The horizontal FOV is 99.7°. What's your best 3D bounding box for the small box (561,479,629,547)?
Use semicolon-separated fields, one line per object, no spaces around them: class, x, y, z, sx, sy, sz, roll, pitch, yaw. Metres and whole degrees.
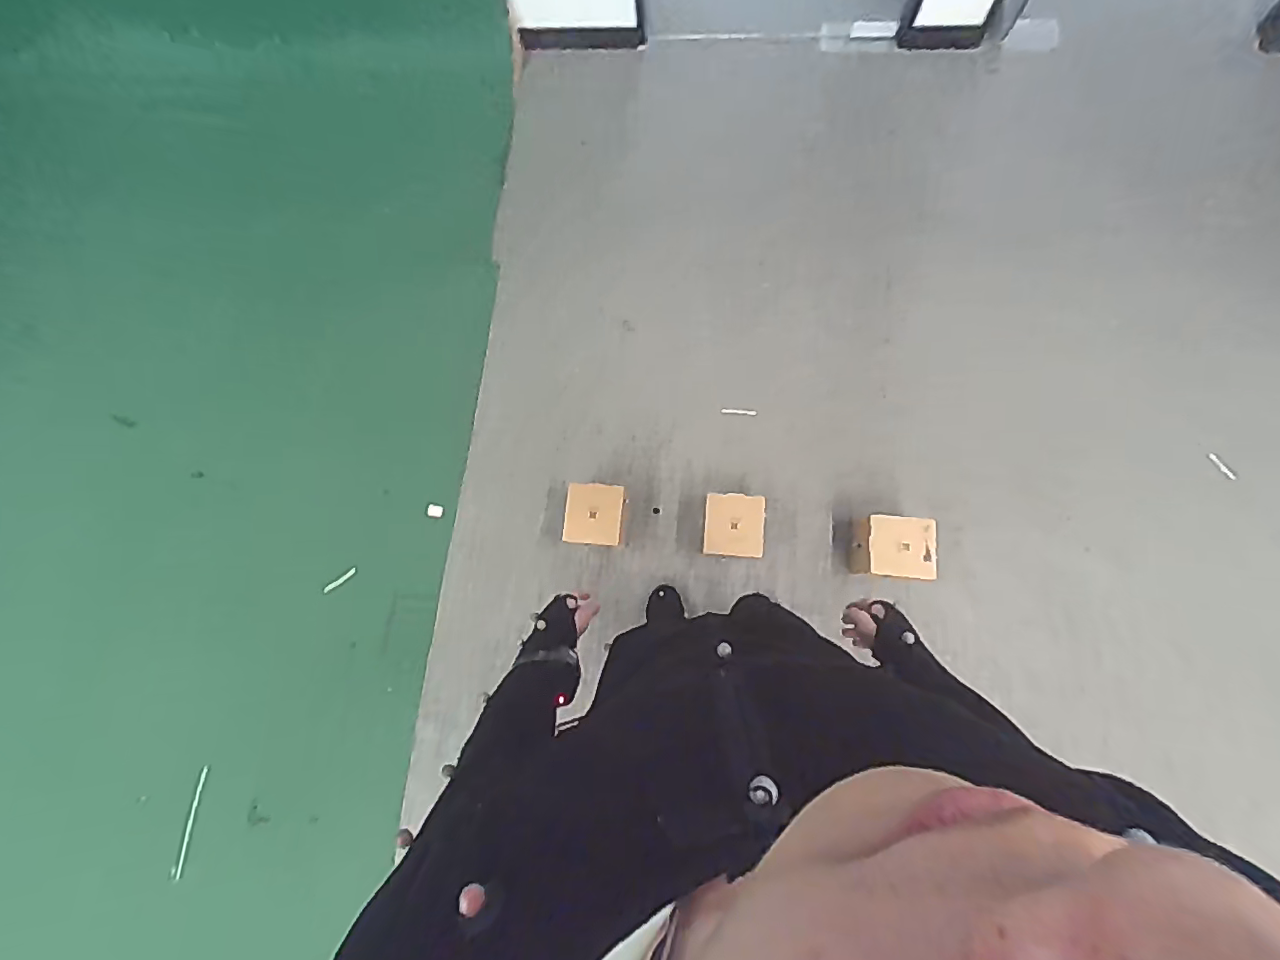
small box;-0.128;0.104;1.609;0.168;0.176;0.179;4;78;6

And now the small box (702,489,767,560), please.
small box;0.269;0.133;1.571;0.168;0.176;0.179;5;79;6

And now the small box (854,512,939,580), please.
small box;0.715;0.190;1.523;0.179;0.176;0.168;5;79;6
